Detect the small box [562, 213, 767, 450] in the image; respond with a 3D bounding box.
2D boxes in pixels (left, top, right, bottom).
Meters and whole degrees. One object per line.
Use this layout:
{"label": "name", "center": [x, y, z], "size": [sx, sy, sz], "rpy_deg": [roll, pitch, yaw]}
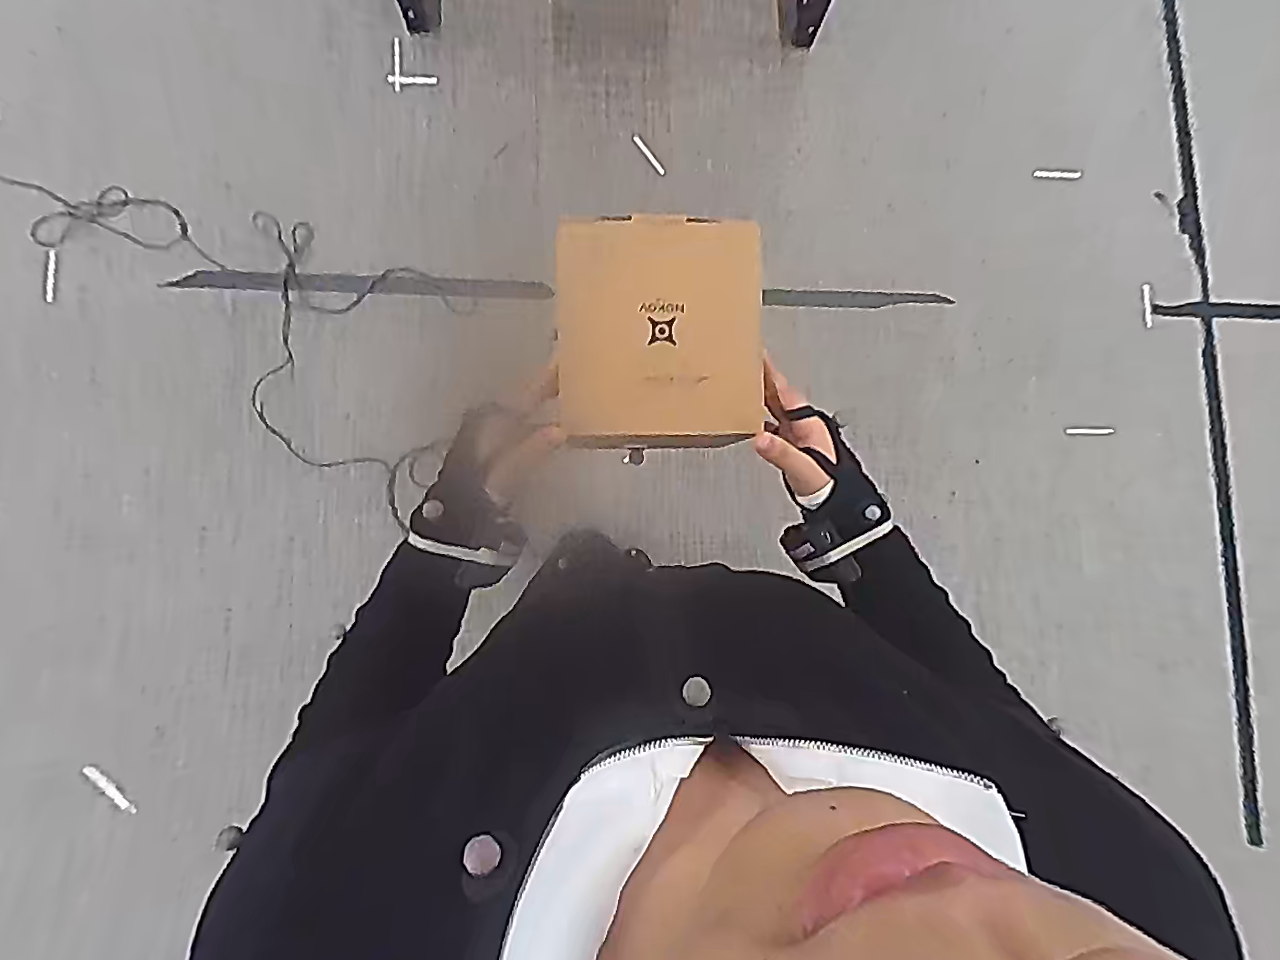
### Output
{"label": "small box", "center": [0.013, -0.123, 0.508], "size": [0.168, 0.176, 0.179], "rpy_deg": [-1, 89, -4]}
